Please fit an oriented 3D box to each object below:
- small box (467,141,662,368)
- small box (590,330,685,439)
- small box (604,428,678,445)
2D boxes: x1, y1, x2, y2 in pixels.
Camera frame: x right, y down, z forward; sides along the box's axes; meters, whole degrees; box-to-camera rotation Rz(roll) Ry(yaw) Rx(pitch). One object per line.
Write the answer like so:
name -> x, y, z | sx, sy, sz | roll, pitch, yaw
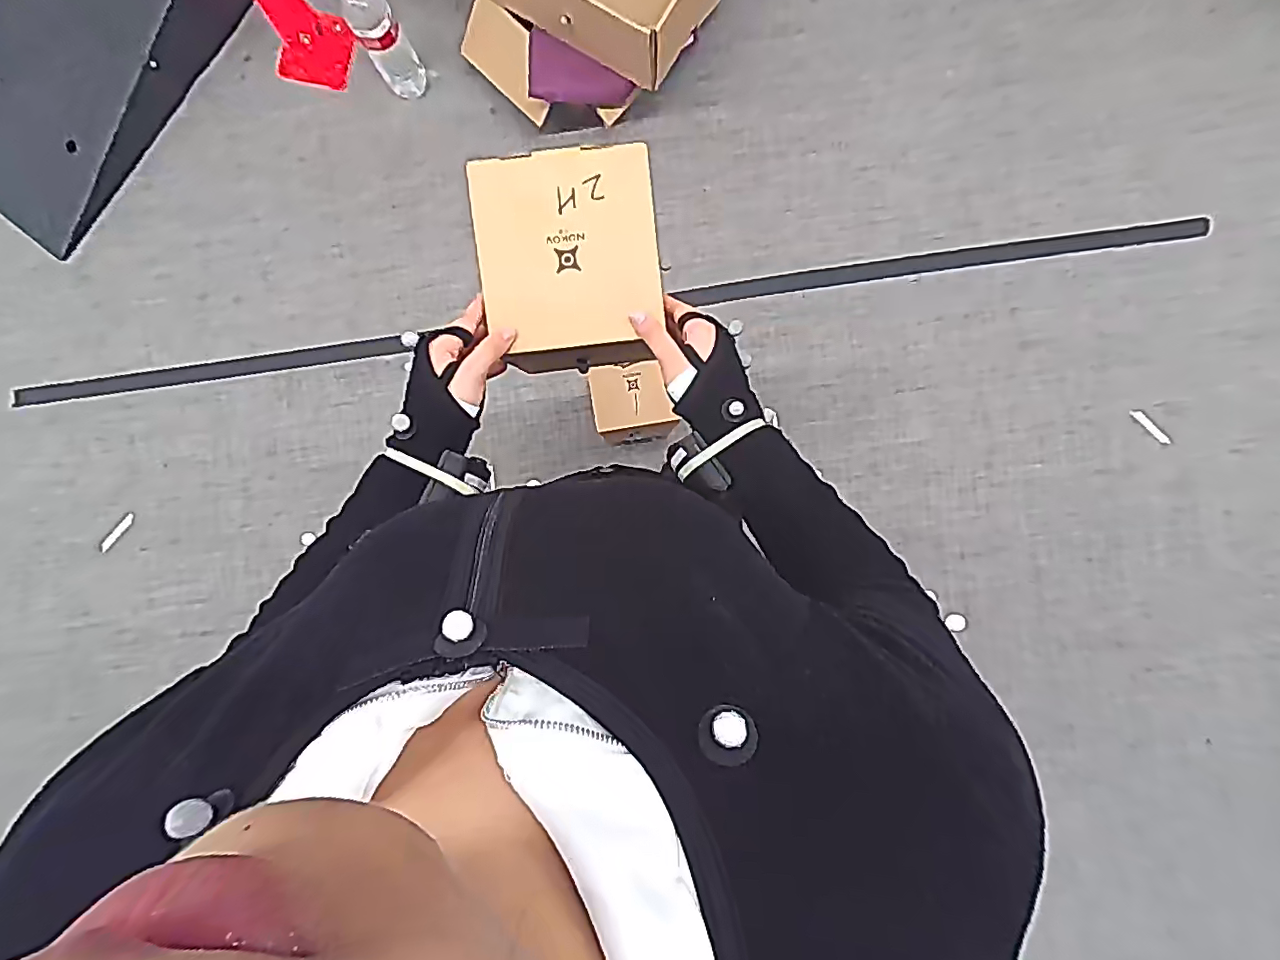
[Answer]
small box -> -0.066, -0.217, 0.572 | 0.168, 0.176, 0.179 | -7, 94, 1
small box -> -0.007, -0.184, 1.090 | 0.168, 0.176, 0.179 | -9, 91, 1
small box -> -0.009, -0.184, 1.255 | 0.168, 0.176, 0.179 | -9, 89, 1
